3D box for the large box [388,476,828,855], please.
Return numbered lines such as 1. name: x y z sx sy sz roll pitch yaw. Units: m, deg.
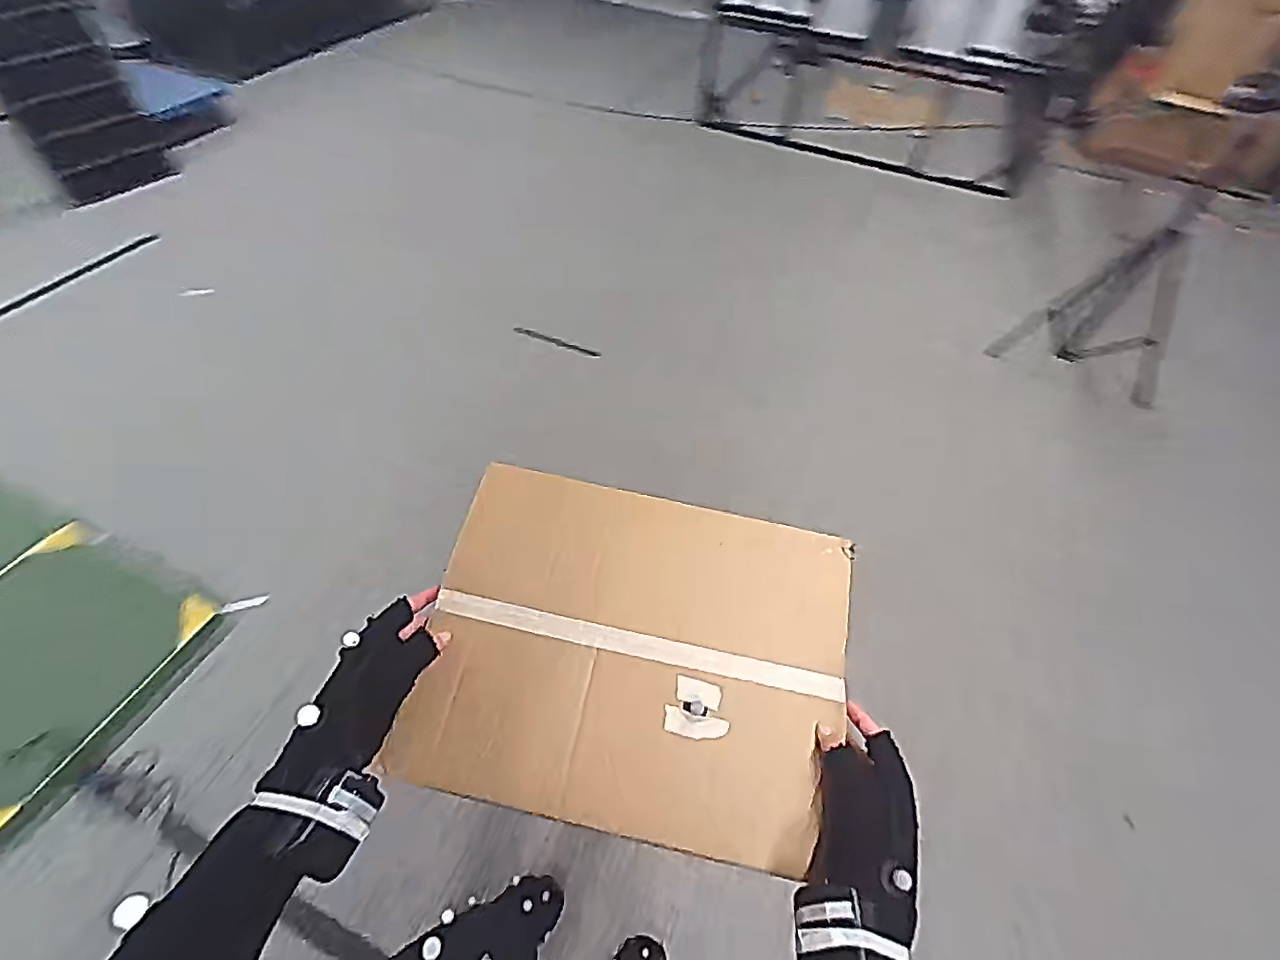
1. large box: -0.019 0.227 0.679 0.408 0.320 0.320 11 65 2
